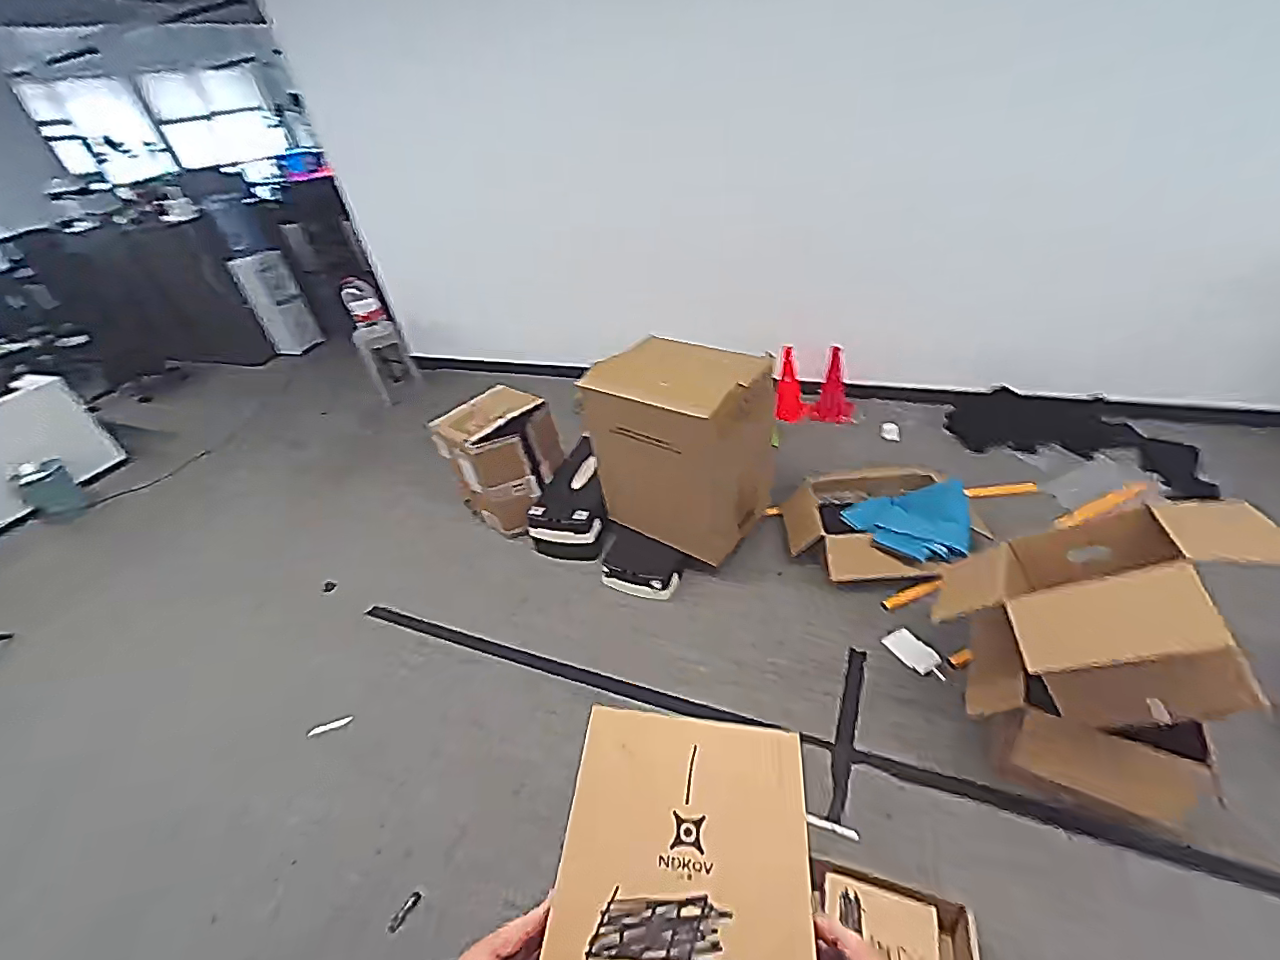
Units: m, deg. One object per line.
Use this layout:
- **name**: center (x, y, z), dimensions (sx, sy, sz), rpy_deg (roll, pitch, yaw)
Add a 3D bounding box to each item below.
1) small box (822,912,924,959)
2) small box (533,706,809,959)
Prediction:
- **small box**: center (0.420, 0.949, 0.990), dimensions (0.168, 0.176, 0.179), rpy_deg (5, 39, 20)
- **small box**: center (0.028, 0.305, 0.415), dimensions (0.168, 0.176, 0.179), rpy_deg (5, 42, 6)
